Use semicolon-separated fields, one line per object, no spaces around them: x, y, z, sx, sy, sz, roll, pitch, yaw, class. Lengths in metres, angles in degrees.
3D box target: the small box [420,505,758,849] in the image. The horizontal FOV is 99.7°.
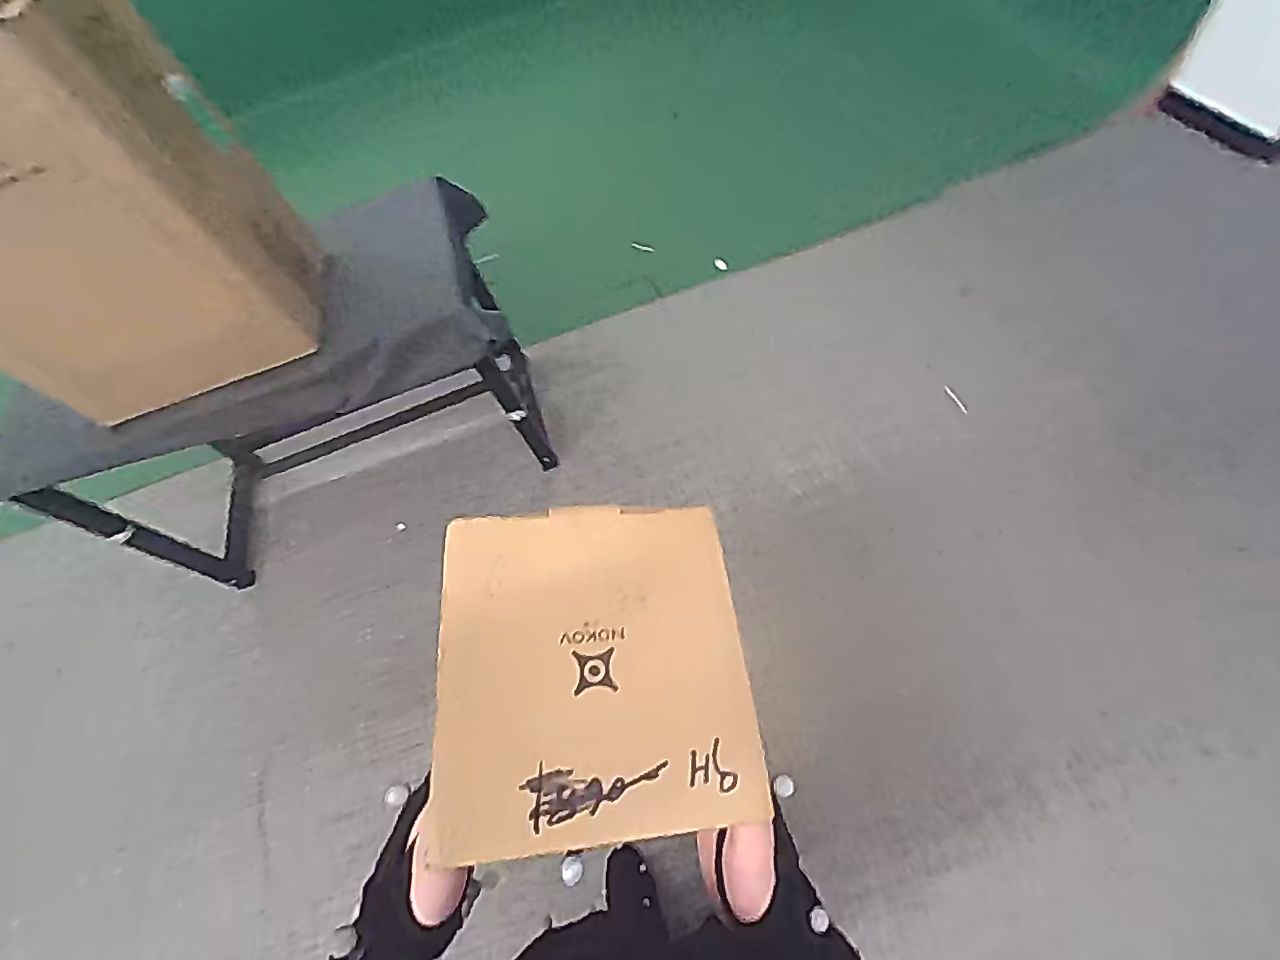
-0.039;0.136;0.369;0.168;0.176;0.179;-4;58;-8;small box
